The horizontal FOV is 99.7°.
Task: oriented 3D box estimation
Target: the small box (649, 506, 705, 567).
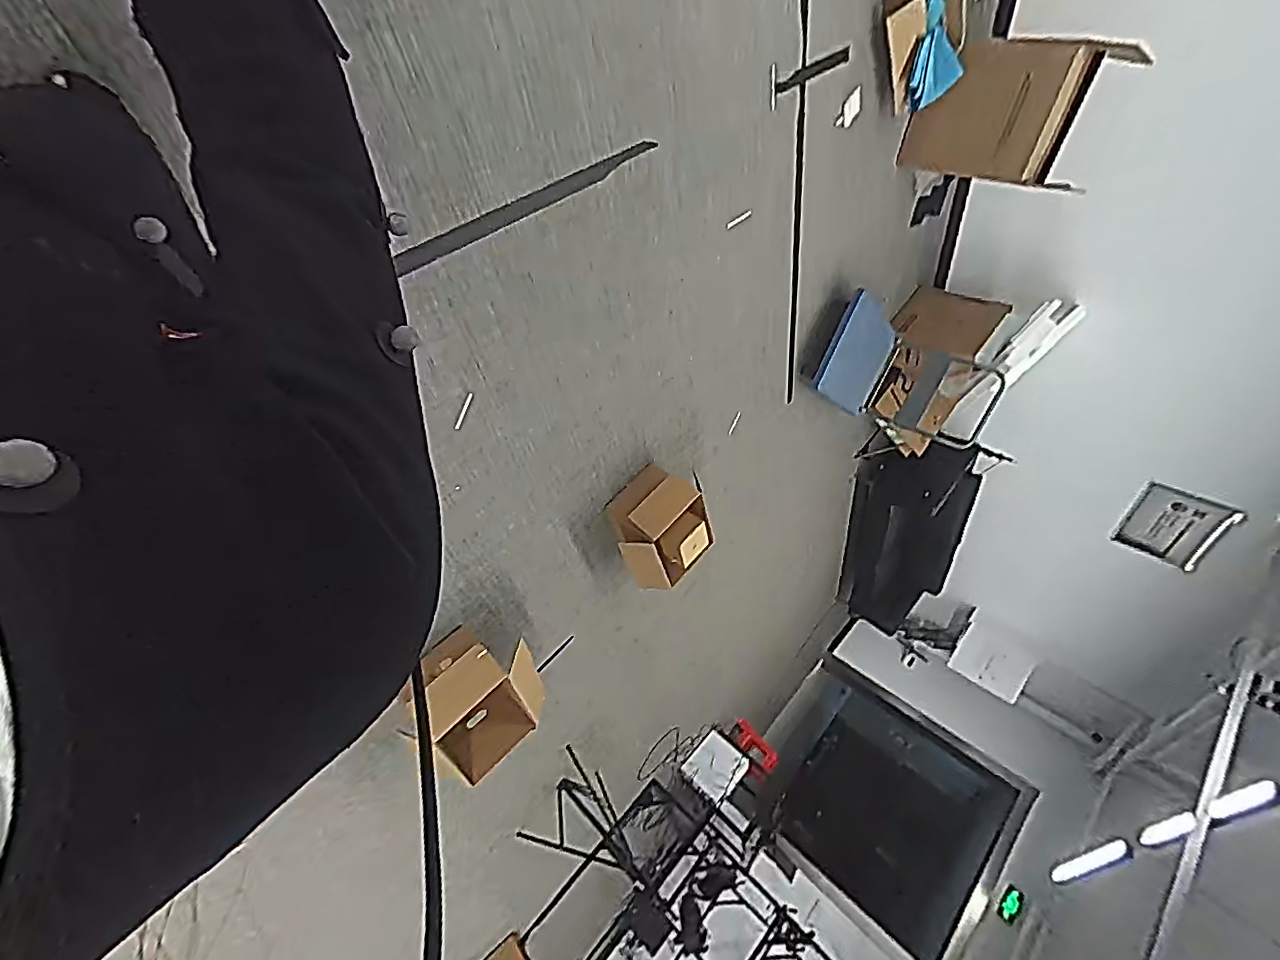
[{"bbox_3d":[0.165,0.243,2.378,0.168,0.176,0.179,-43,142,-22],"label":"small box"}]
